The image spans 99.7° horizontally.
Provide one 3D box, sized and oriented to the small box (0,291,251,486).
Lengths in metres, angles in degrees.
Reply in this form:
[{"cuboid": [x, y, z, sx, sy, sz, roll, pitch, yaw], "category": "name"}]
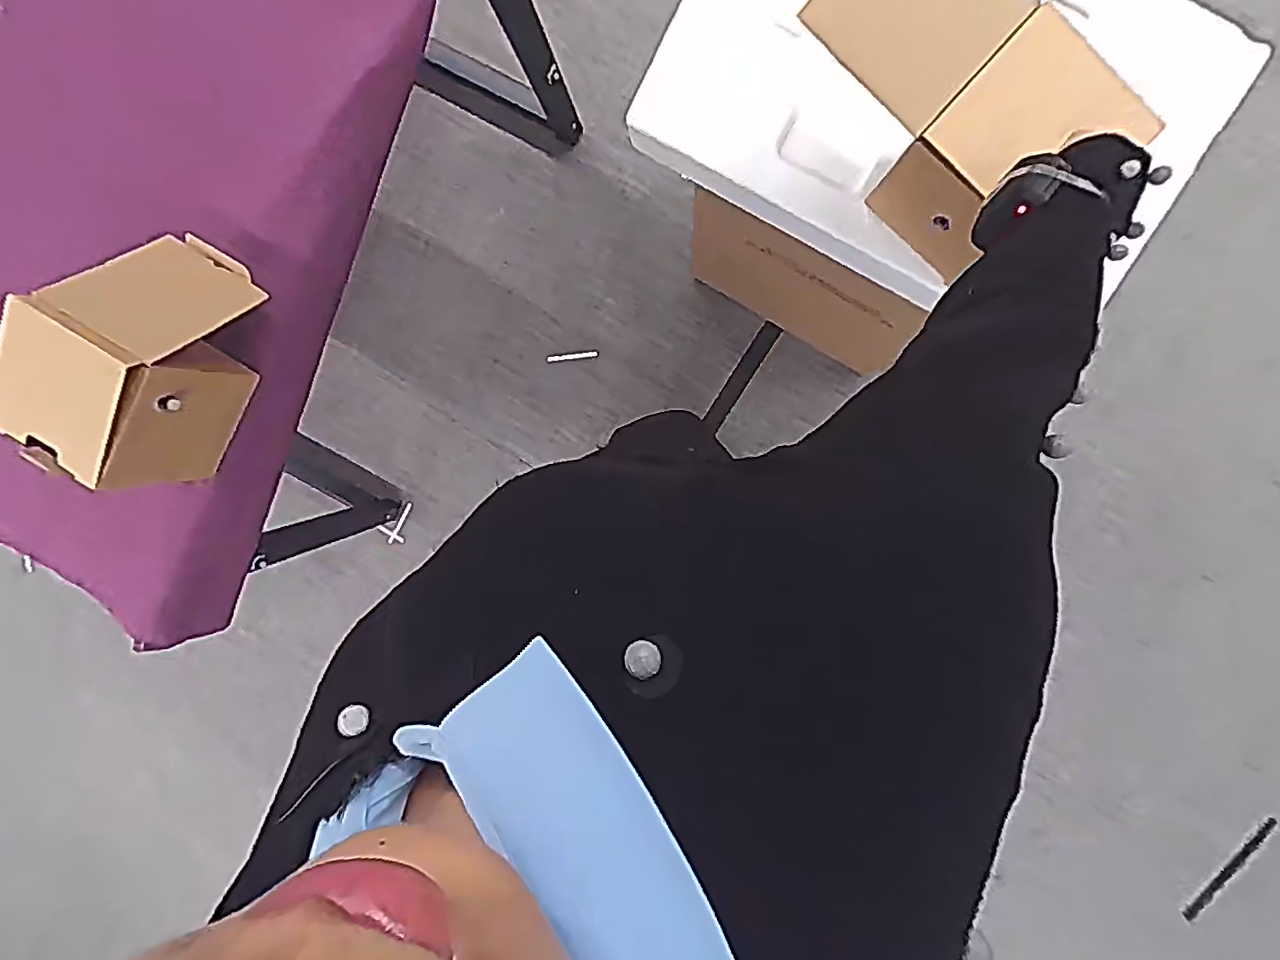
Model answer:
[{"cuboid": [-0.671, -0.117, 0.718, 0.168, 0.176, 0.179, 32, 99, 2], "category": "small box"}]
